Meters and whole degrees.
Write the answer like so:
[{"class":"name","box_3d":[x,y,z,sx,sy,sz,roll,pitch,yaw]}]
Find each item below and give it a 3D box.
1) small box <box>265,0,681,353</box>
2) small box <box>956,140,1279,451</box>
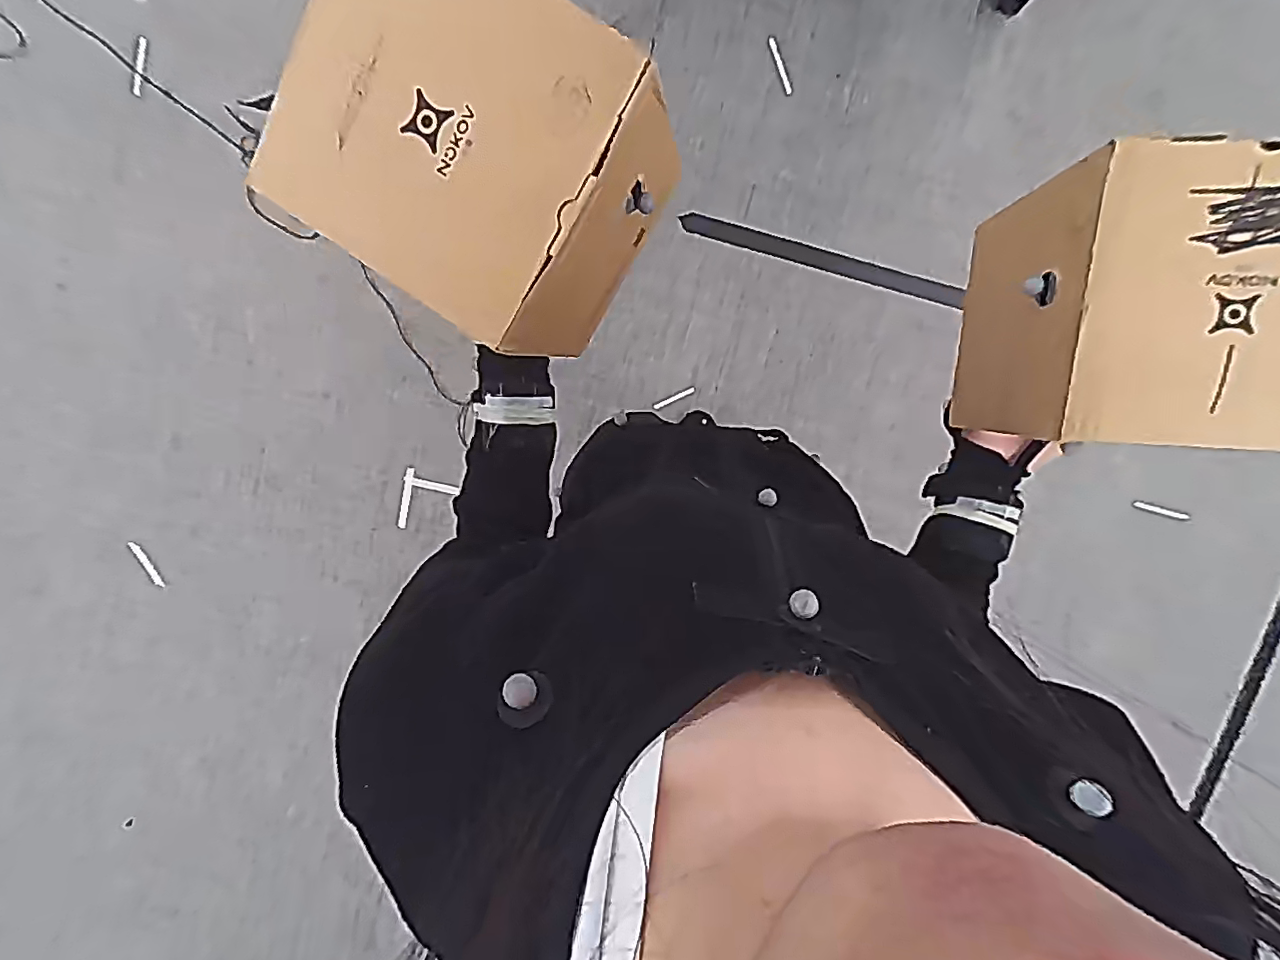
[{"class":"small box","box_3d":[-0.088,-0.201,0.362,0.179,0.176,0.168,33,105,2]},{"class":"small box","box_3d":[0.359,-0.118,0.396,0.168,0.176,0.179,4,99,8]}]
